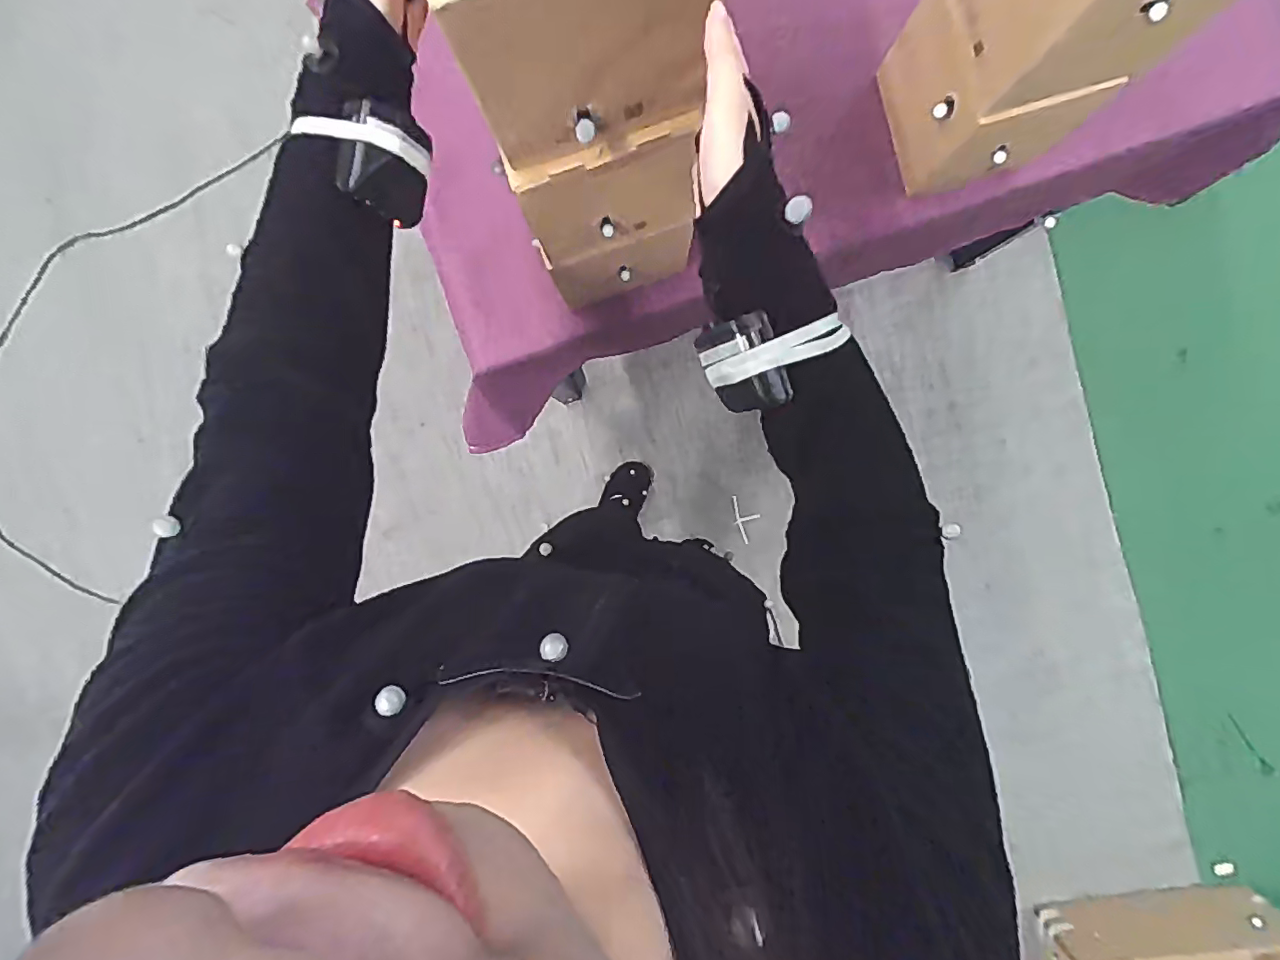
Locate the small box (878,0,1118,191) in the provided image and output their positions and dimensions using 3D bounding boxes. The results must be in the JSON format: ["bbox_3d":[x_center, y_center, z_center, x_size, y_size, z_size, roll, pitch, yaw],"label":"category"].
[{"bbox_3d":[0.423,-0.486,0.668,0.168,0.176,0.179,-15,92,1],"label":"small box"}]

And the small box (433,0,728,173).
[{"bbox_3d":[-0.050,-0.344,0.349,0.168,0.176,0.179,-18,93,2],"label":"small box"}]

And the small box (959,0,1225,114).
[{"bbox_3d":[0.429,-0.484,0.503,0.179,0.176,0.168,-15,93,0],"label":"small box"}]

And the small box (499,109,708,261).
[{"bbox_3d":[-0.047,-0.340,0.513,0.168,0.176,0.179,-18,93,1],"label":"small box"}]
